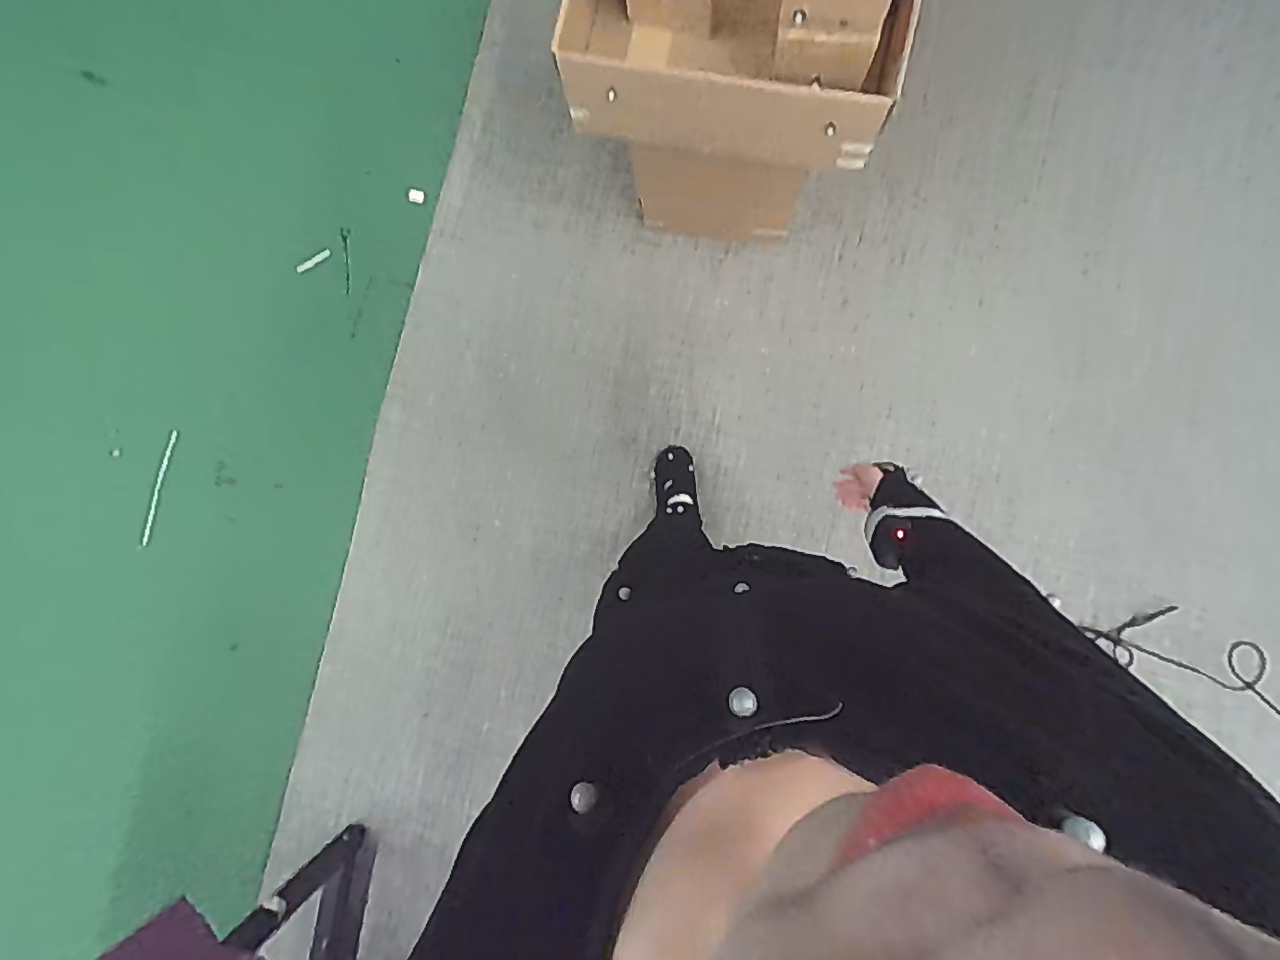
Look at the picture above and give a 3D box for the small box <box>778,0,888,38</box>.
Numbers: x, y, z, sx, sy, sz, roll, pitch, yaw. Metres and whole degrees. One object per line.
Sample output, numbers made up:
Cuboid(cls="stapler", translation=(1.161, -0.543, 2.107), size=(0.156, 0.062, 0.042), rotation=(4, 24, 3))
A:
Cuboid(cls="small box", translation=(0.311, -0.819, 0.815), size=(0.168, 0.176, 0.179), rotation=(10, 87, 6))
